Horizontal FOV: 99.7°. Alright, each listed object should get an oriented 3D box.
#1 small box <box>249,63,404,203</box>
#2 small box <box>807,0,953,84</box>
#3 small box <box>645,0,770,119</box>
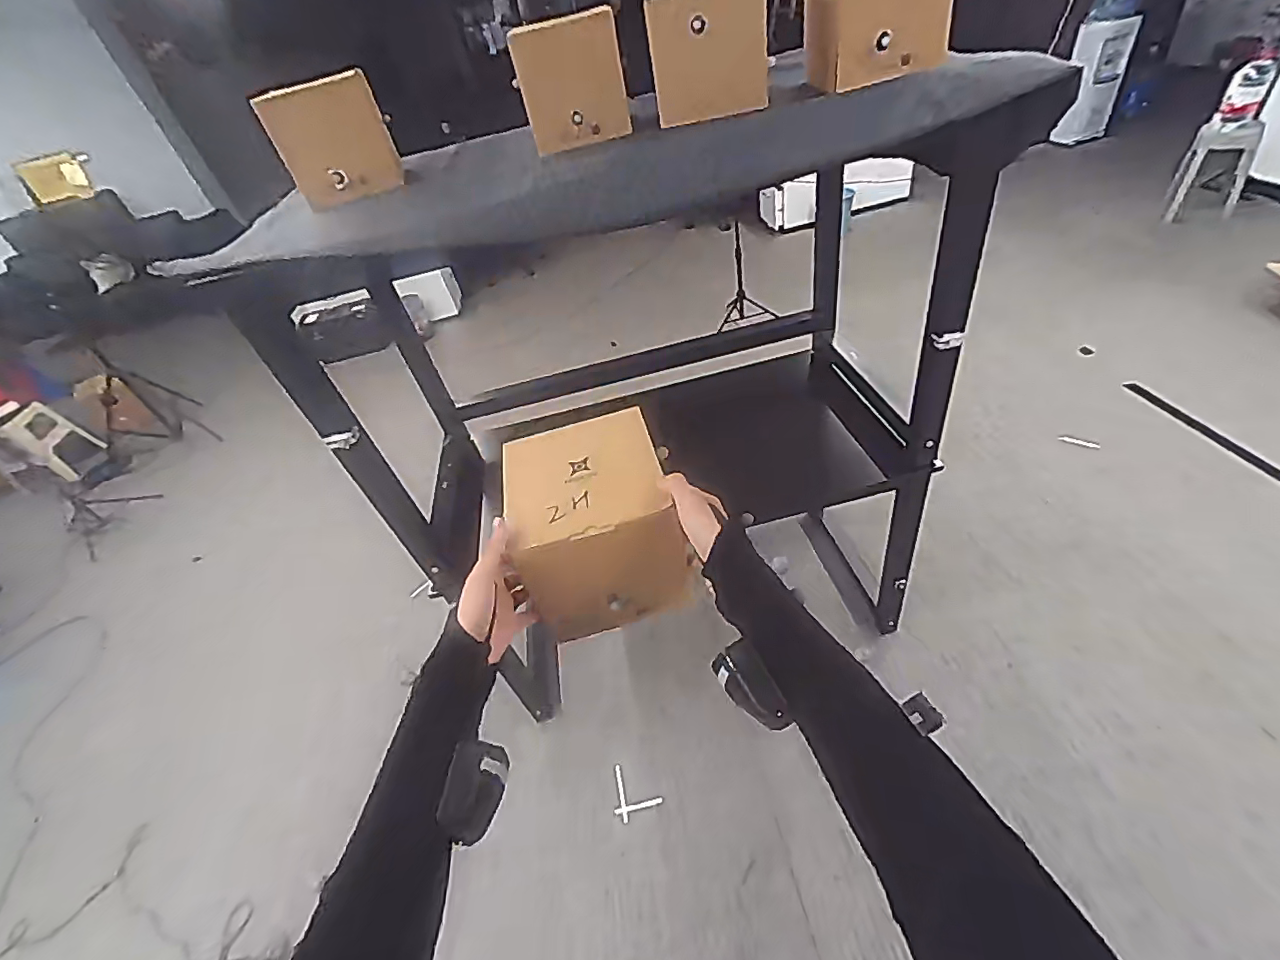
[{"bbox_3d":[-0.534,-0.609,0.950,0.168,0.176,0.179,-21,43,-6],"label":"small box"},{"bbox_3d":[0.361,-0.731,0.831,0.168,0.176,0.179,-11,42,5],"label":"small box"},{"bbox_3d":[0.114,-0.705,0.872,0.179,0.176,0.168,-3,43,12],"label":"small box"}]
